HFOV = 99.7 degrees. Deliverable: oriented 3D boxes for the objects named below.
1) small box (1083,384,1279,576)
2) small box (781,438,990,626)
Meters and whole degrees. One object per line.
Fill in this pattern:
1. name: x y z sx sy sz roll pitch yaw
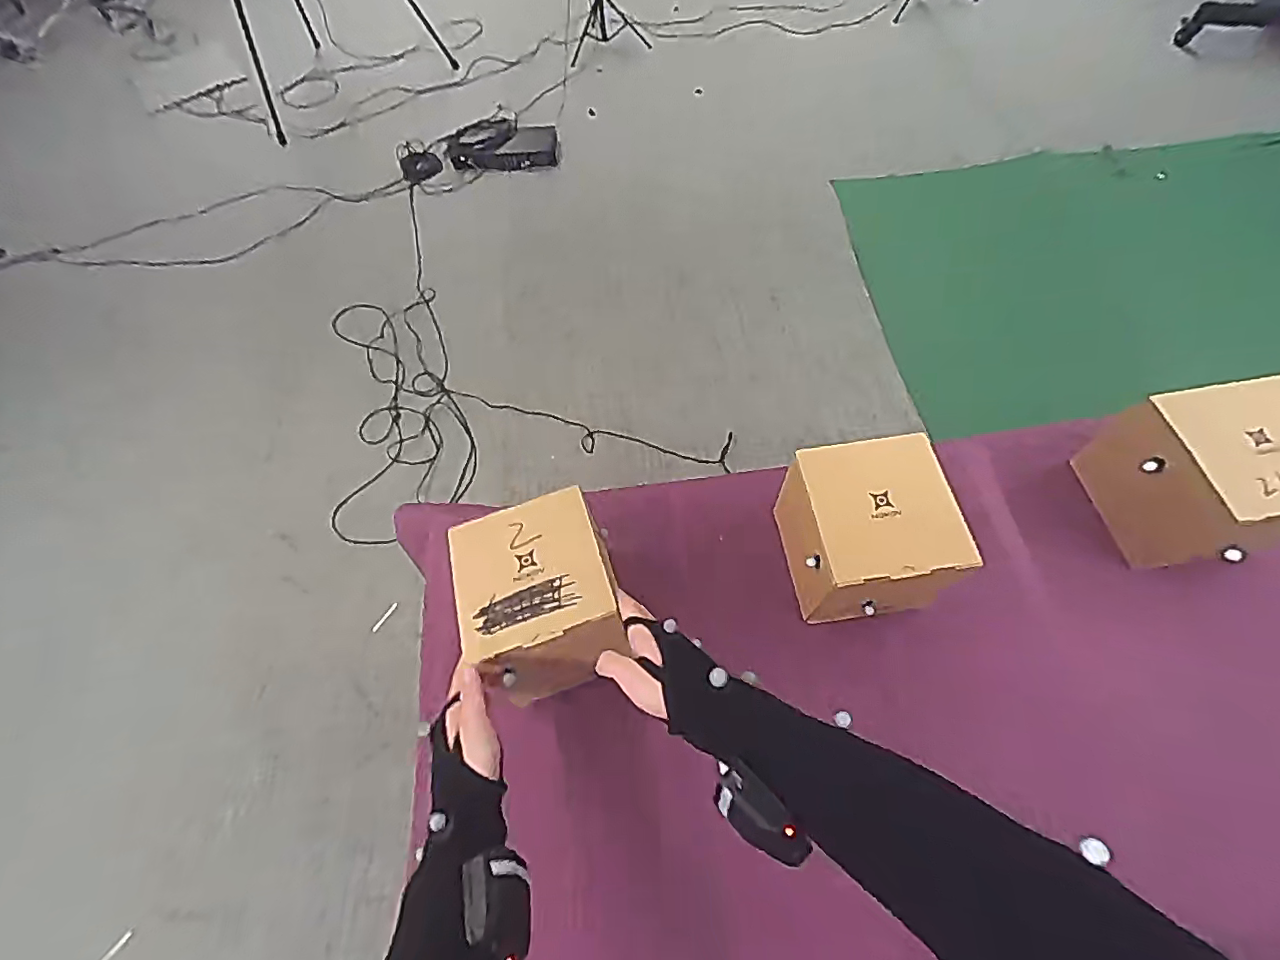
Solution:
1. small box: 0.727 0.005 0.688 0.168 0.176 0.179 -9 61 3
2. small box: 0.290 0.072 0.689 0.168 0.176 0.179 -8 62 -1
